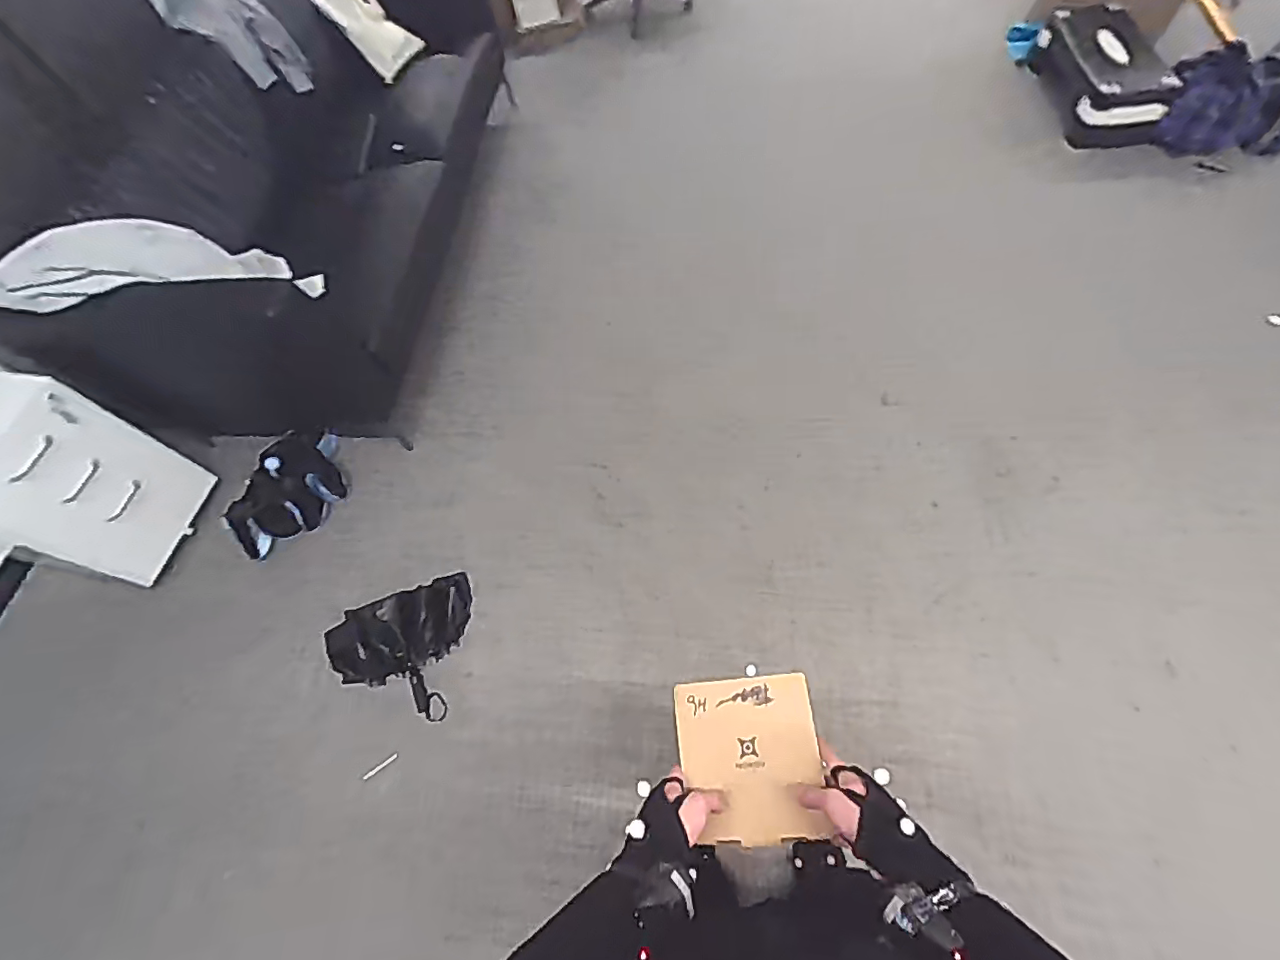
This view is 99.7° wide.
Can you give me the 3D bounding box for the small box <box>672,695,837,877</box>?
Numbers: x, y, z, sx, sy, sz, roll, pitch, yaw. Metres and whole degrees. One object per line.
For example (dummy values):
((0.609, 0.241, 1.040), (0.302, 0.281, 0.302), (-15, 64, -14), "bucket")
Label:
((0.144, 0.377, 0.691), (0.168, 0.176, 0.179), (-10, 67, 10), "small box")
